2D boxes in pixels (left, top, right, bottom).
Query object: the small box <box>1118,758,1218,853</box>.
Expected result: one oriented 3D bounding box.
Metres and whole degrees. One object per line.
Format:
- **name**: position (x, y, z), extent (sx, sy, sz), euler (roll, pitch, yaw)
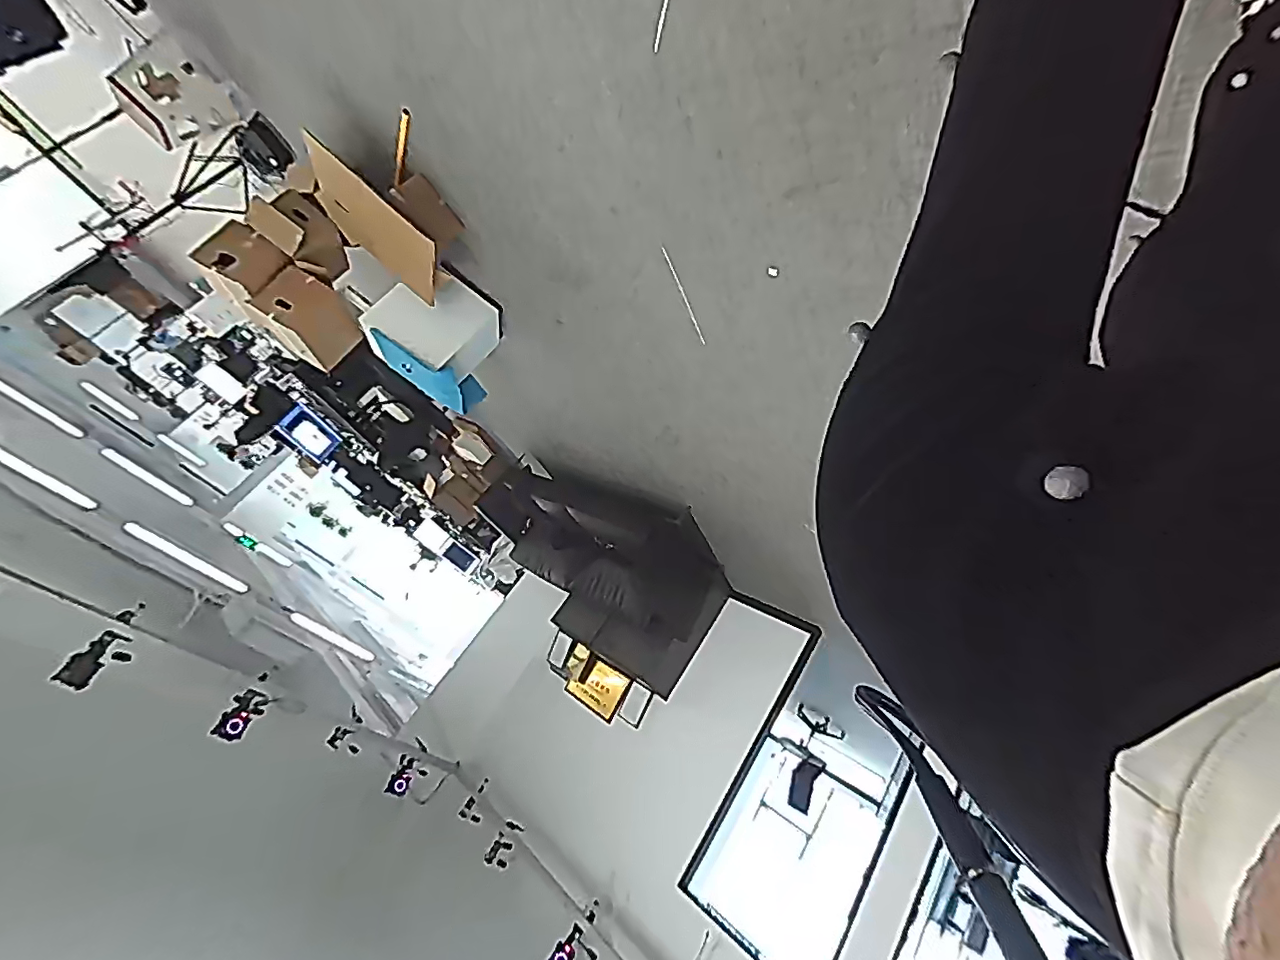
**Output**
- **small box**: position (1.584, 0.975, 1.624), extent (0.168, 0.176, 0.179), euler (20, 153, 37)
